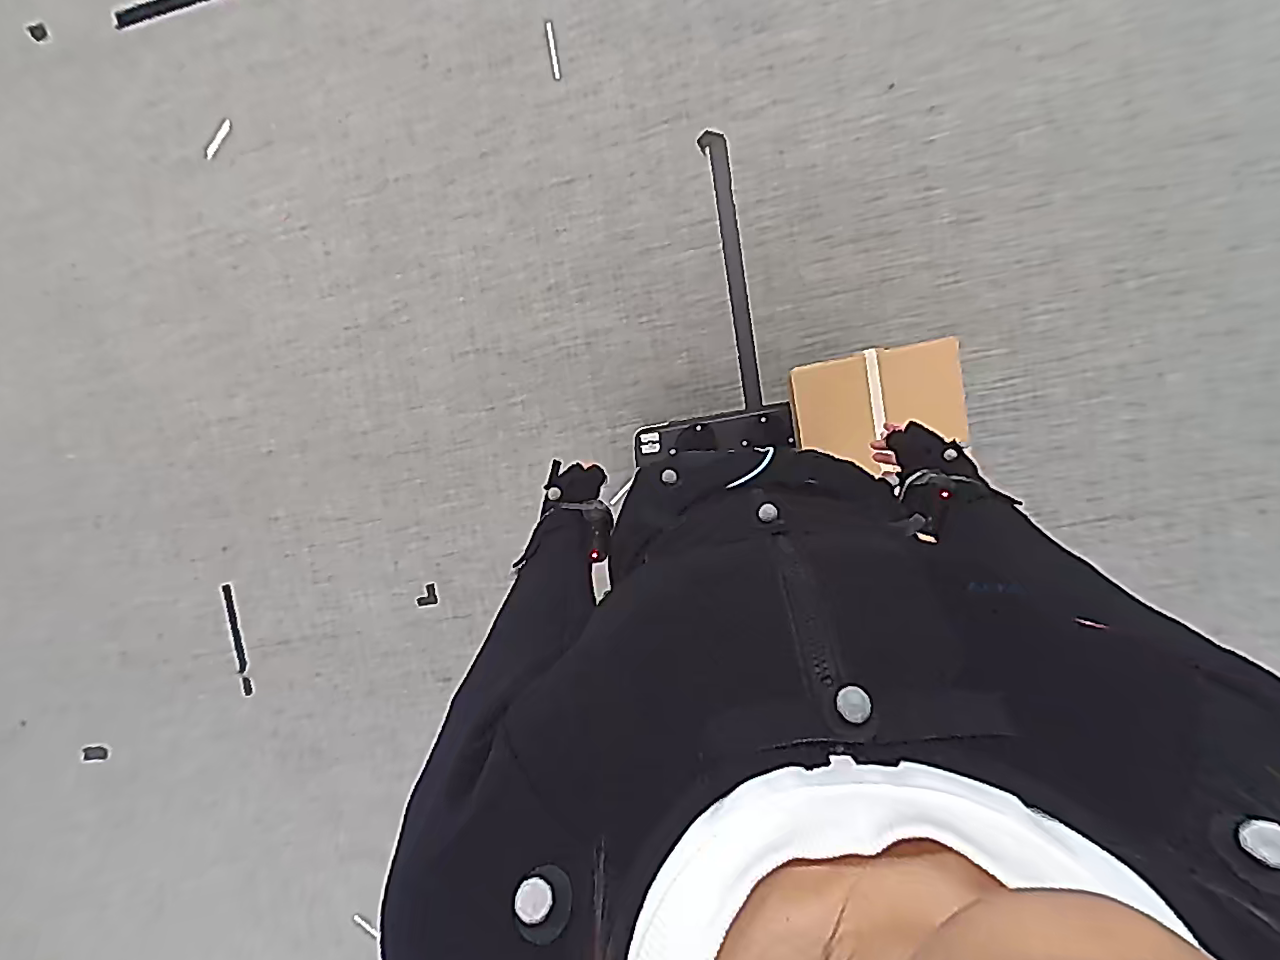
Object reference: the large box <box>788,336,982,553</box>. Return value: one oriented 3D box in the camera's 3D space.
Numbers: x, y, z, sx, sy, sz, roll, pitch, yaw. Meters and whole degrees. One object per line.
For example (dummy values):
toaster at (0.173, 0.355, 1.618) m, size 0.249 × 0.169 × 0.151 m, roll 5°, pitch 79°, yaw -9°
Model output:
large box at (0.531, -0.084, 1.233) m, size 0.320 × 0.320 × 0.408 m, roll -9°, pitch 97°, yaw 16°
